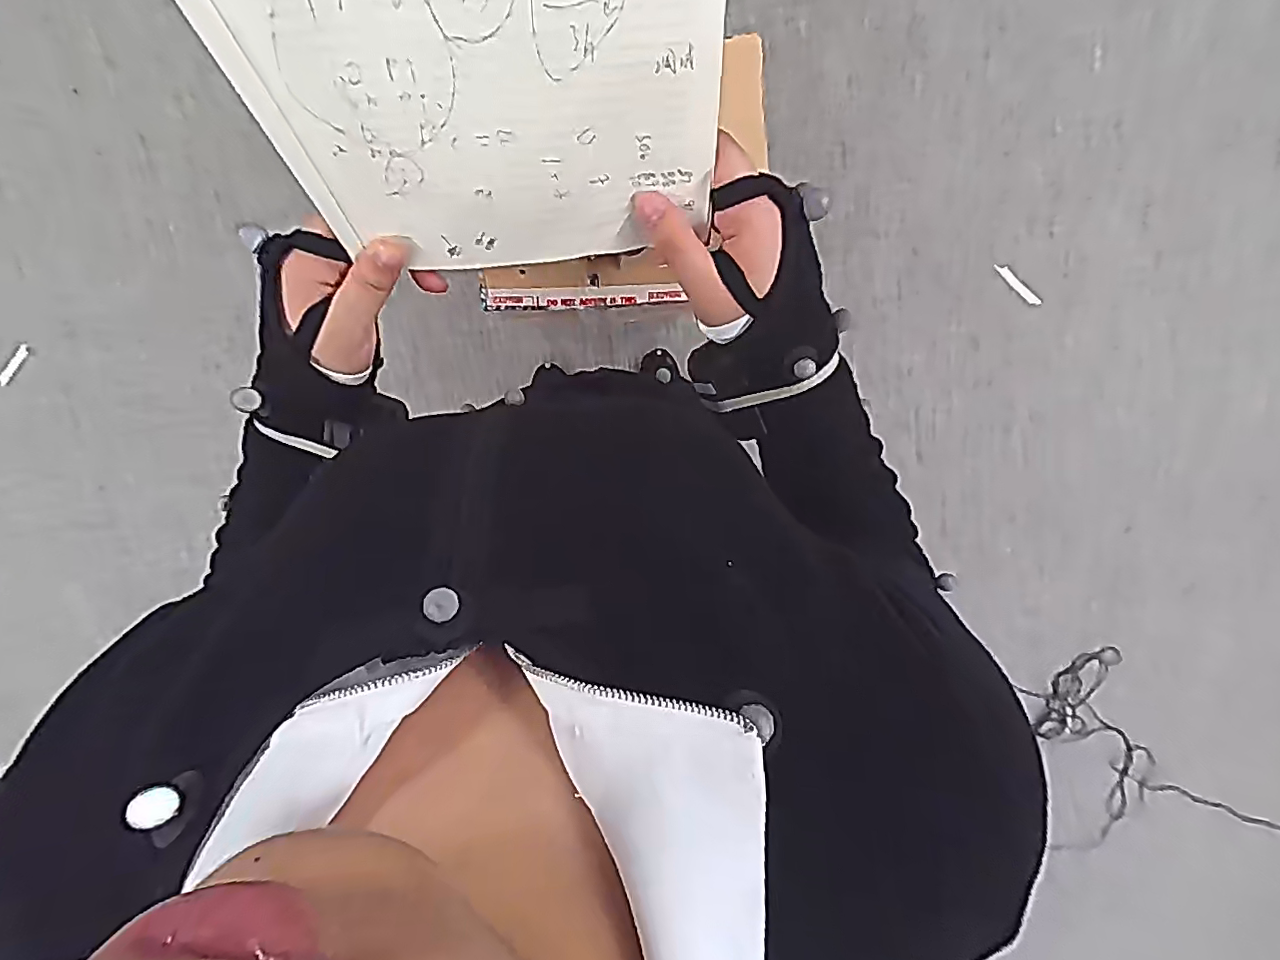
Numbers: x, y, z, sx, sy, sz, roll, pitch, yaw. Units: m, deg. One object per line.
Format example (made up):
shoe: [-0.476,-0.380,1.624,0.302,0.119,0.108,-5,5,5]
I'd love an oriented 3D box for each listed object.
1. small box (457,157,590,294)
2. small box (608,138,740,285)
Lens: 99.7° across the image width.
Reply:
small box: [-0.169,-0.385,0.843,0.179,0.176,0.168,1,104,0]
small box: [0.046,-0.408,0.846,0.179,0.176,0.168,-8,104,-1]
